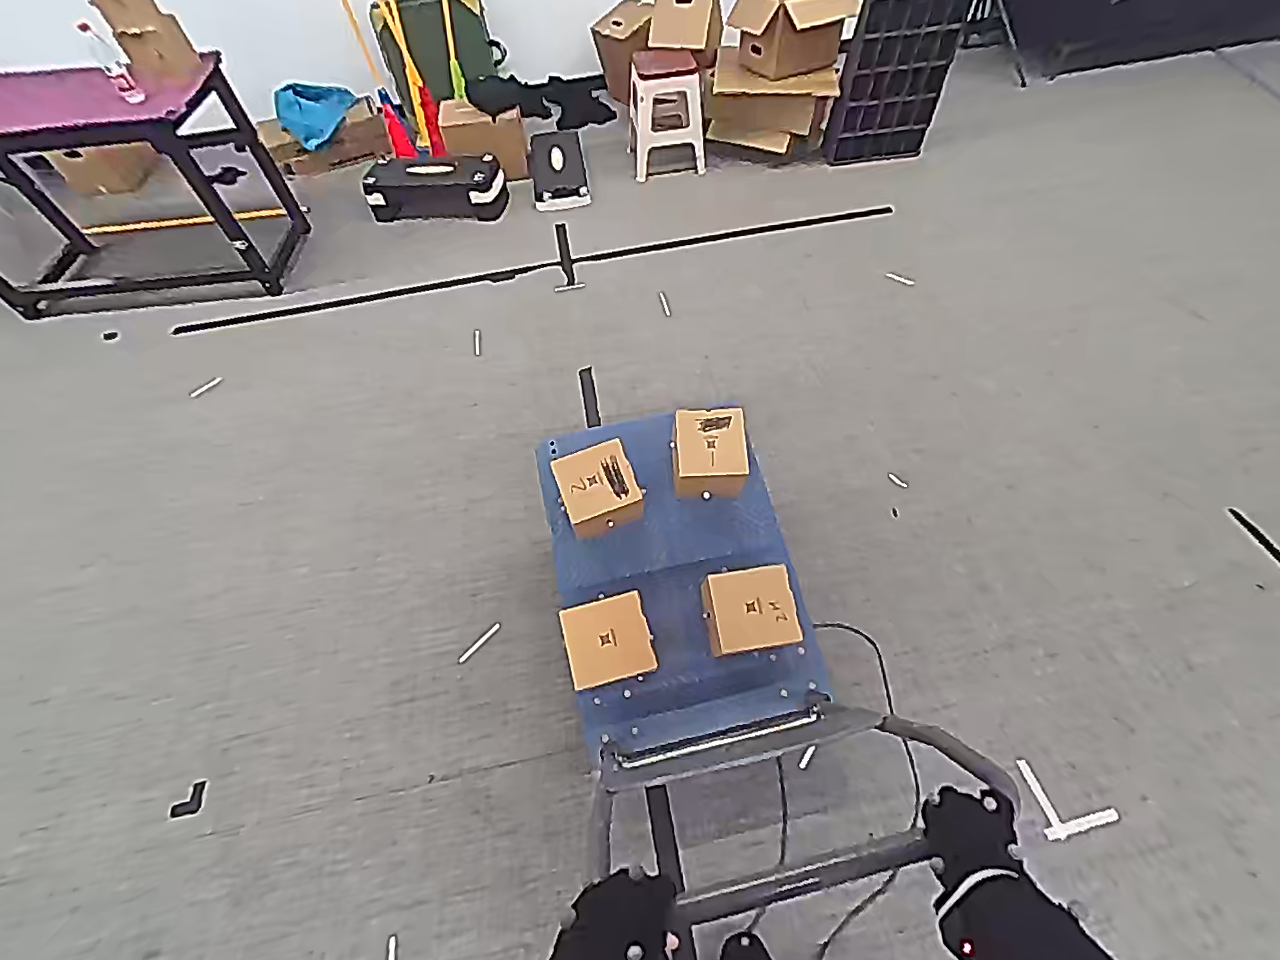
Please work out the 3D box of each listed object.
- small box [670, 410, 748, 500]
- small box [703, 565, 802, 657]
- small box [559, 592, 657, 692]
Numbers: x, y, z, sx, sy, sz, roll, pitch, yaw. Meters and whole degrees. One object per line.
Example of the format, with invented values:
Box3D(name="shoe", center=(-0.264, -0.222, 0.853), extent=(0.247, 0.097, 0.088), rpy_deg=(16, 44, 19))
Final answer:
Box3D(name="small box", center=(0.166, -0.060, 1.359), extent=(0.168, 0.176, 0.179), rpy_deg=(-2, 70, -1))
Box3D(name="small box", center=(0.242, 0.301, 1.219), extent=(0.179, 0.176, 0.168), rpy_deg=(-8, 69, -3))
Box3D(name="small box", center=(-0.068, 0.363, 1.196), extent=(0.179, 0.176, 0.168), rpy_deg=(-15, 69, -7))
